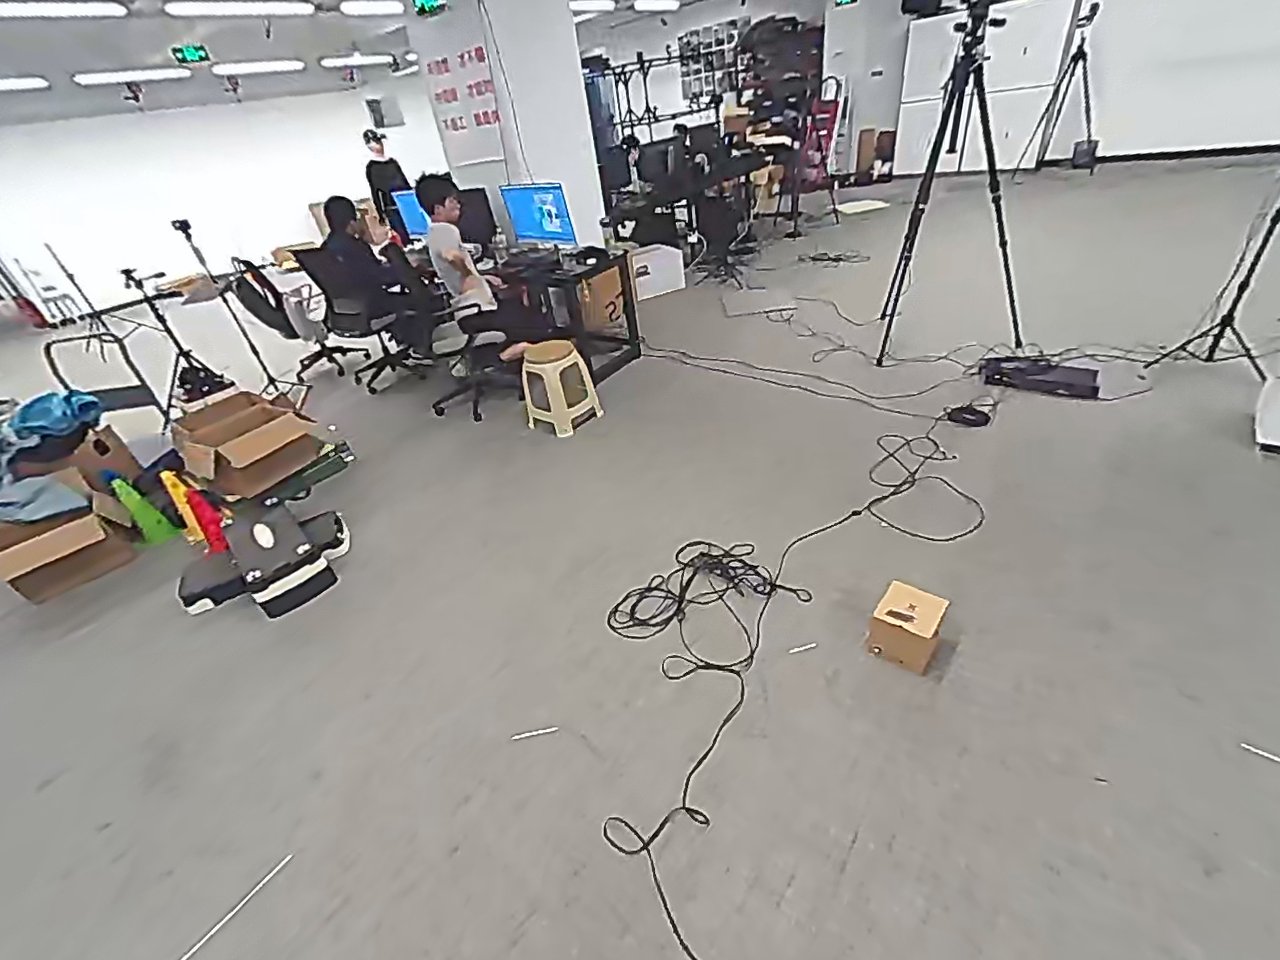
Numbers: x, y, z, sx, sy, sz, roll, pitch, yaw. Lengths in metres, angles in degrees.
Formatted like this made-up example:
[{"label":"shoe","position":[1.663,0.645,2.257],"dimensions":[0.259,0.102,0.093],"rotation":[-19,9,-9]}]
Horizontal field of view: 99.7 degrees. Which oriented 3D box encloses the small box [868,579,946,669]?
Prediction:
[{"label":"small box","position":[0.826,0.449,1.683],"dimensions":[0.168,0.176,0.179],"rotation":[21,45,37]}]
